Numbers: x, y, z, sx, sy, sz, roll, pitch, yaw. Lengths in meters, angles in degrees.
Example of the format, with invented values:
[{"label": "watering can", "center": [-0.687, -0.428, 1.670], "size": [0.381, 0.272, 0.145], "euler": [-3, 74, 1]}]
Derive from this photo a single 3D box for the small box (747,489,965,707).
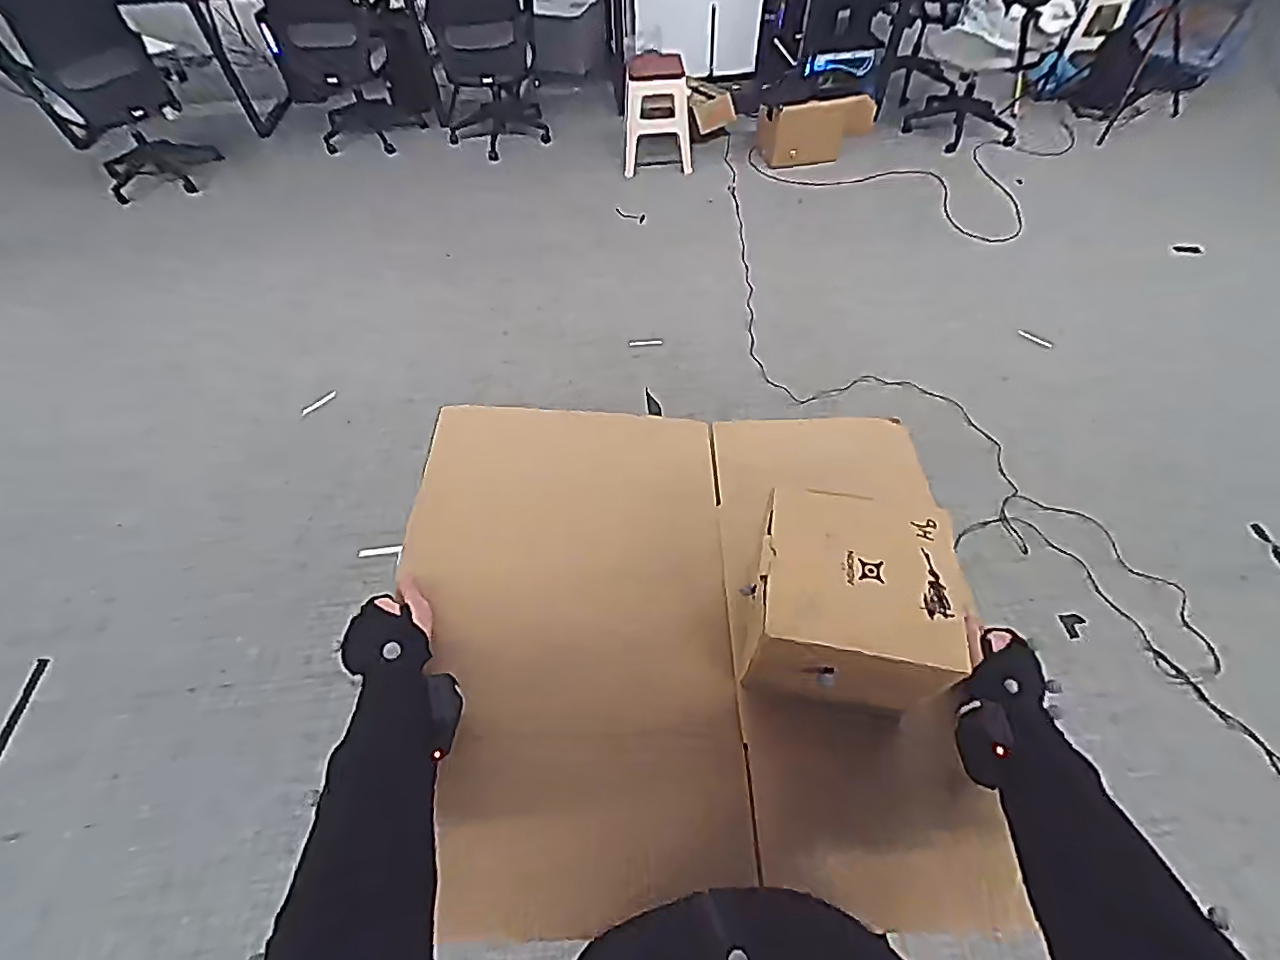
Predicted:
[{"label": "small box", "center": [0.214, 0.131, 0.582], "size": [0.179, 0.176, 0.168], "euler": [7, 56, 9]}]
